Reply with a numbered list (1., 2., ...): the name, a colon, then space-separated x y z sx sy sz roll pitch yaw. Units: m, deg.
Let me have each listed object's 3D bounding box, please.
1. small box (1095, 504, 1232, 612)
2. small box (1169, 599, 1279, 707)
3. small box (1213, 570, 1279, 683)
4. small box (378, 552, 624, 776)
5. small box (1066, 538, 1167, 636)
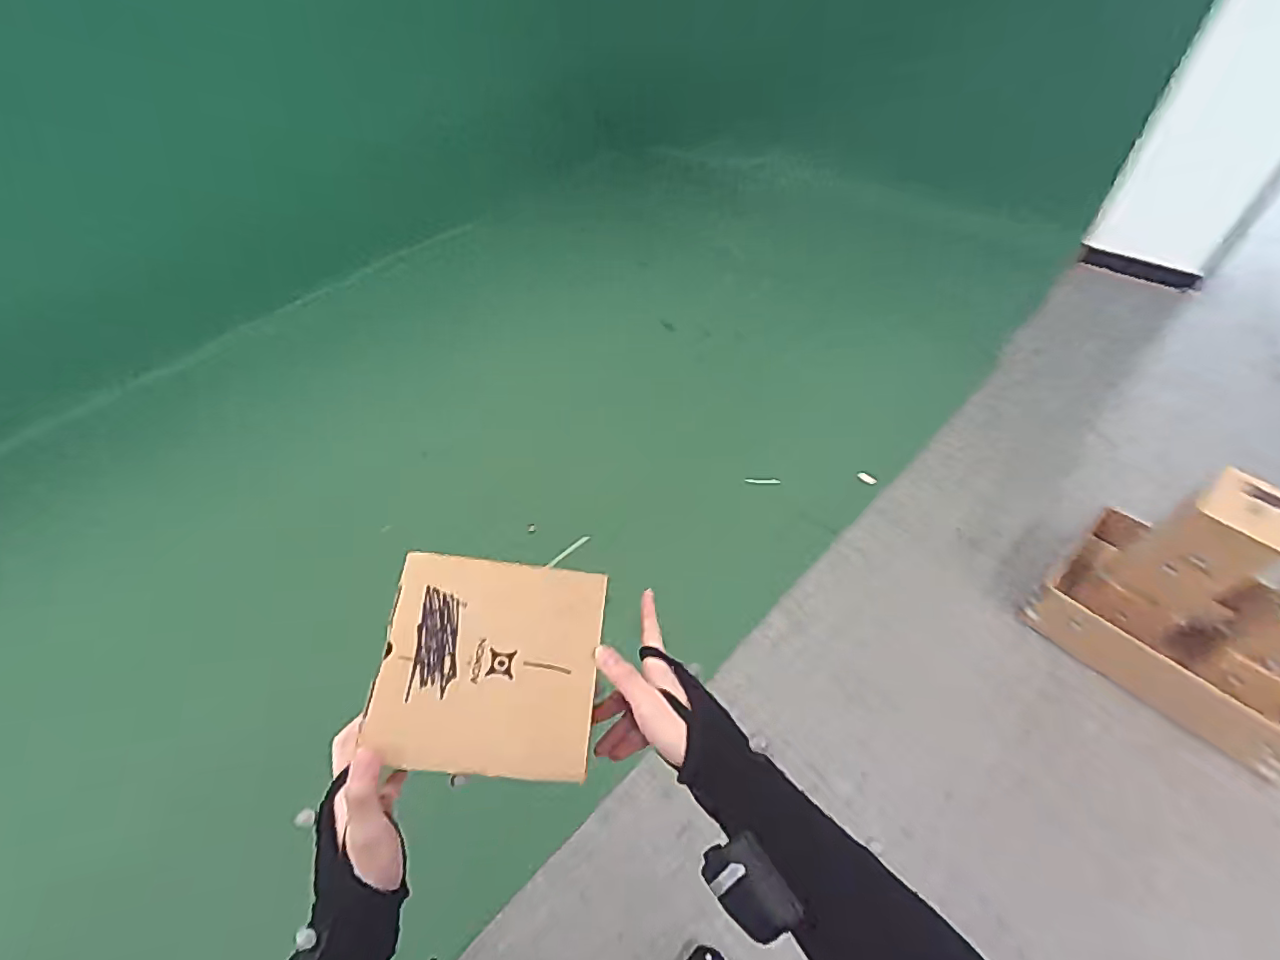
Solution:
1. small box: 1.325 0.200 1.382 0.179 0.176 0.168 -35 56 -21
2. small box: 1.519 0.446 1.380 0.179 0.176 0.168 -40 58 -22
3. small box: 1.506 0.342 1.255 0.179 0.176 0.168 -38 55 -21
4. small box: -0.119 0.183 0.527 0.179 0.176 0.168 9 64 -5
5. small box: 1.341 0.304 1.509 0.179 0.176 0.168 -40 60 -22
